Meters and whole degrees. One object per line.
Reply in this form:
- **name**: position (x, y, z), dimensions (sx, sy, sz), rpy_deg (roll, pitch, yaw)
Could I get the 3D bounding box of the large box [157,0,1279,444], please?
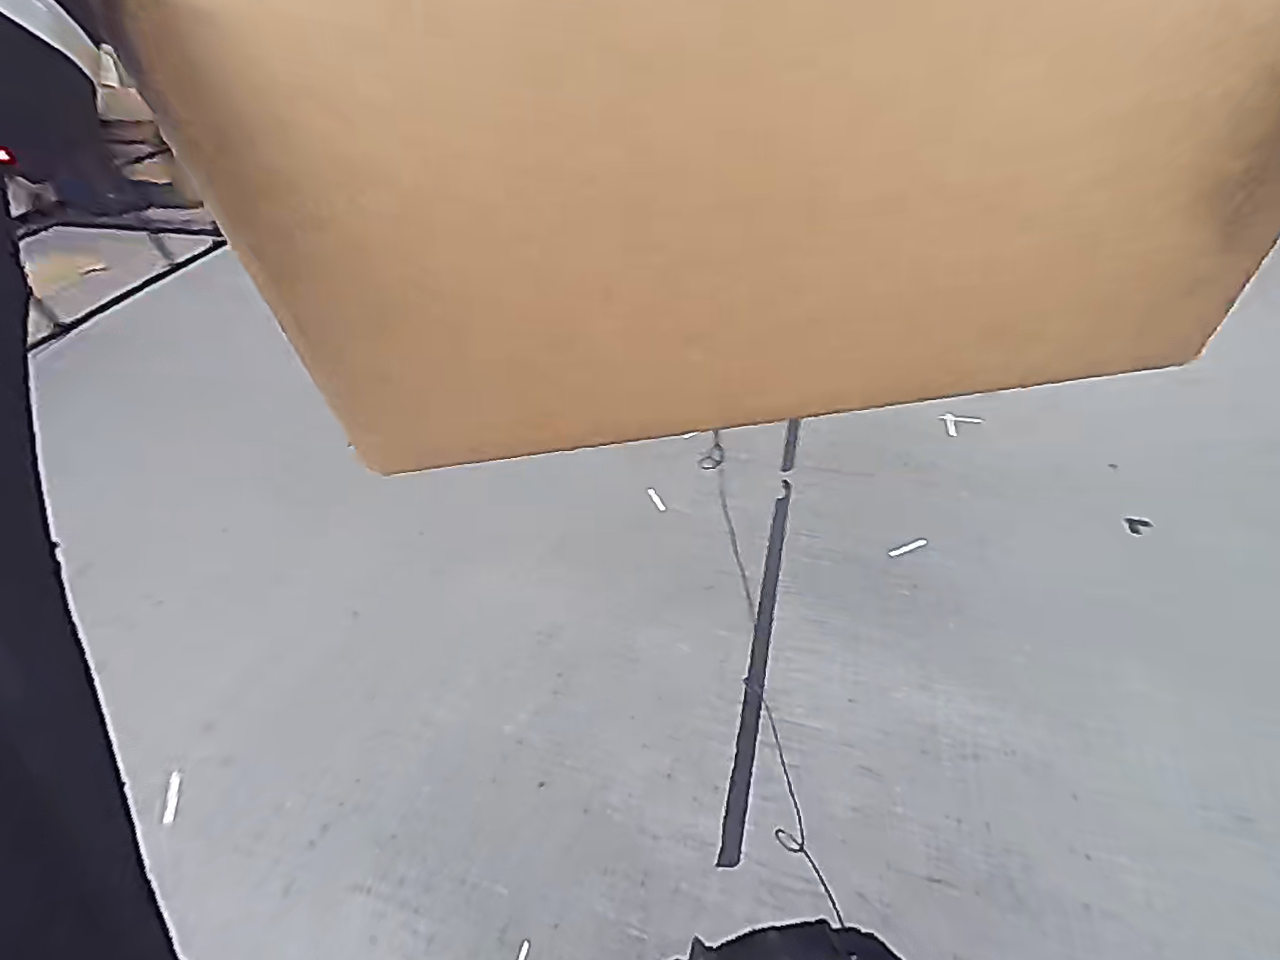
- **large box**: position (0.043, -0.248, 0.276), dimensions (0.408, 0.320, 0.320), rpy_deg (-7, 43, -1)
